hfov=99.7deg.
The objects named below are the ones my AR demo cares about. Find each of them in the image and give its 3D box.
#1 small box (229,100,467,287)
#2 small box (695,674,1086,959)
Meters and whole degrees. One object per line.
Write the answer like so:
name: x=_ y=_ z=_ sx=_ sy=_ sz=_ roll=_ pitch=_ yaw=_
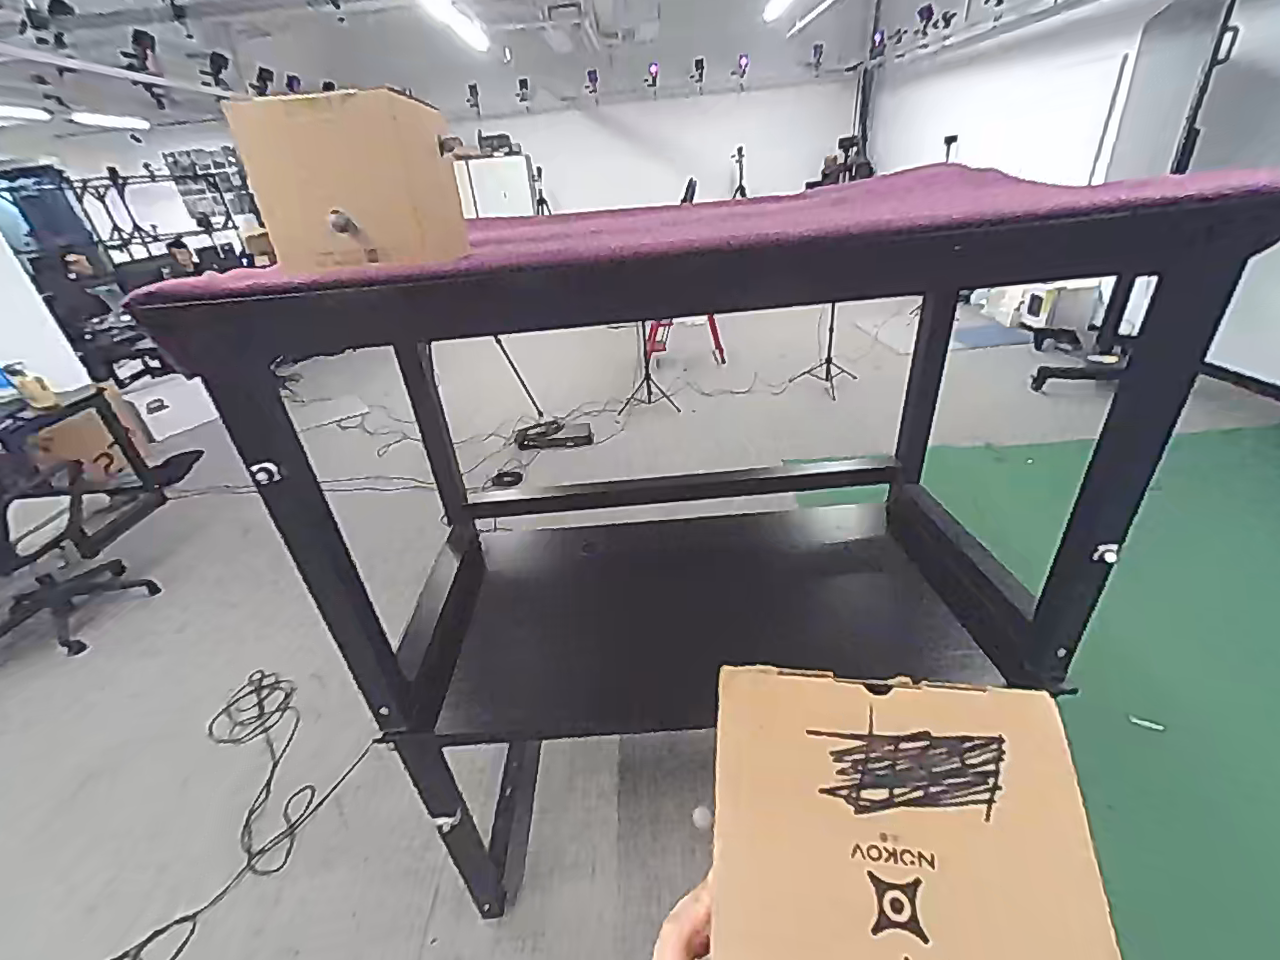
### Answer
small box: x=-0.315 y=-0.327 z=0.633 sx=0.168 sy=0.176 sz=0.179 roll=-4 pitch=29 yaw=2
small box: x=0.123 y=0.227 z=0.320 sx=0.168 sy=0.176 sz=0.179 roll=1 pitch=62 yaw=12
